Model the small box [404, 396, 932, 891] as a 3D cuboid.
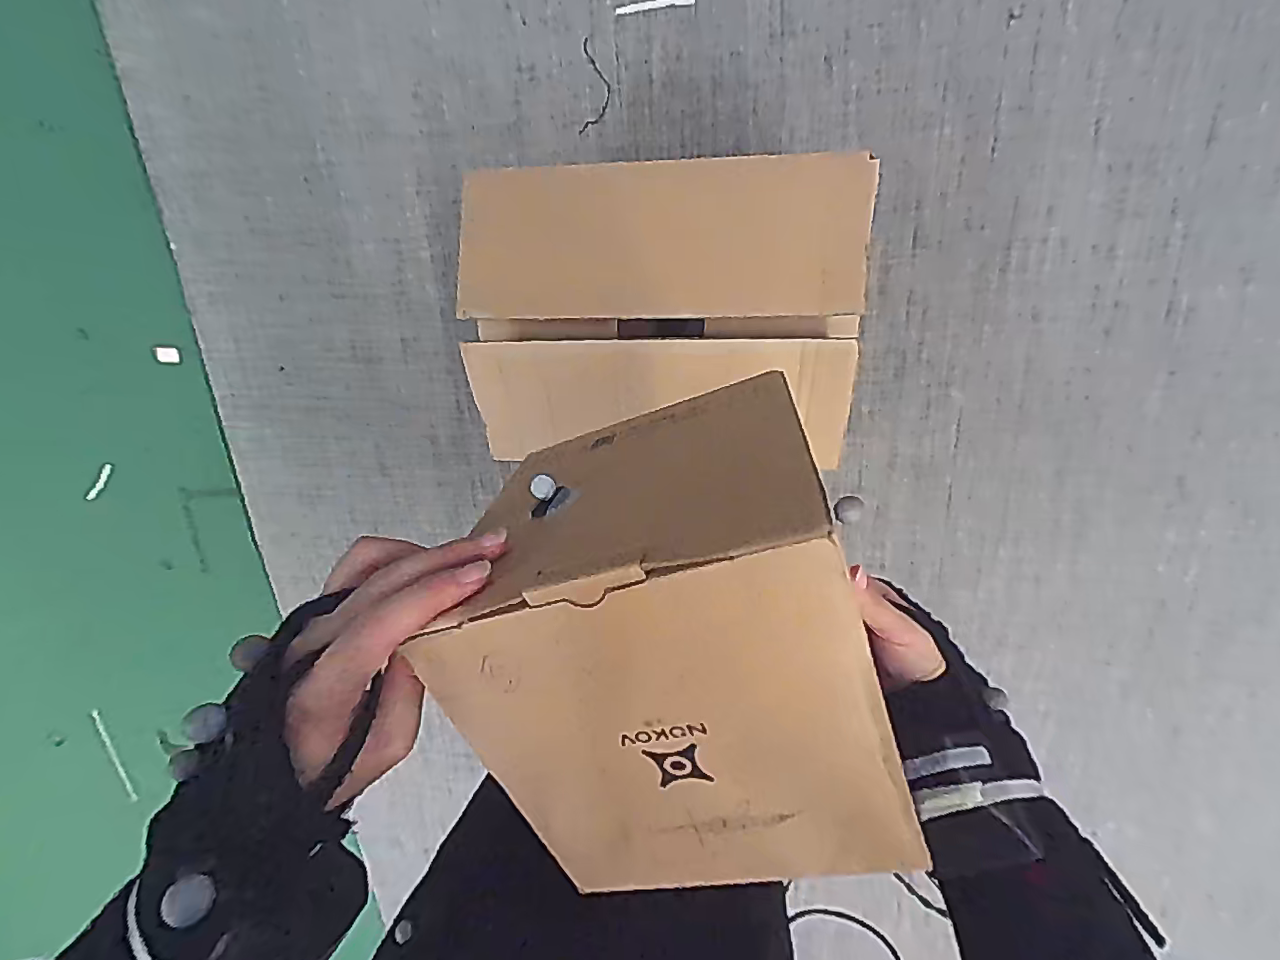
[{"bbox_3d":[0.026,0.071,0.282,0.168,0.176,0.179,-16,115,18],"label":"small box"}]
